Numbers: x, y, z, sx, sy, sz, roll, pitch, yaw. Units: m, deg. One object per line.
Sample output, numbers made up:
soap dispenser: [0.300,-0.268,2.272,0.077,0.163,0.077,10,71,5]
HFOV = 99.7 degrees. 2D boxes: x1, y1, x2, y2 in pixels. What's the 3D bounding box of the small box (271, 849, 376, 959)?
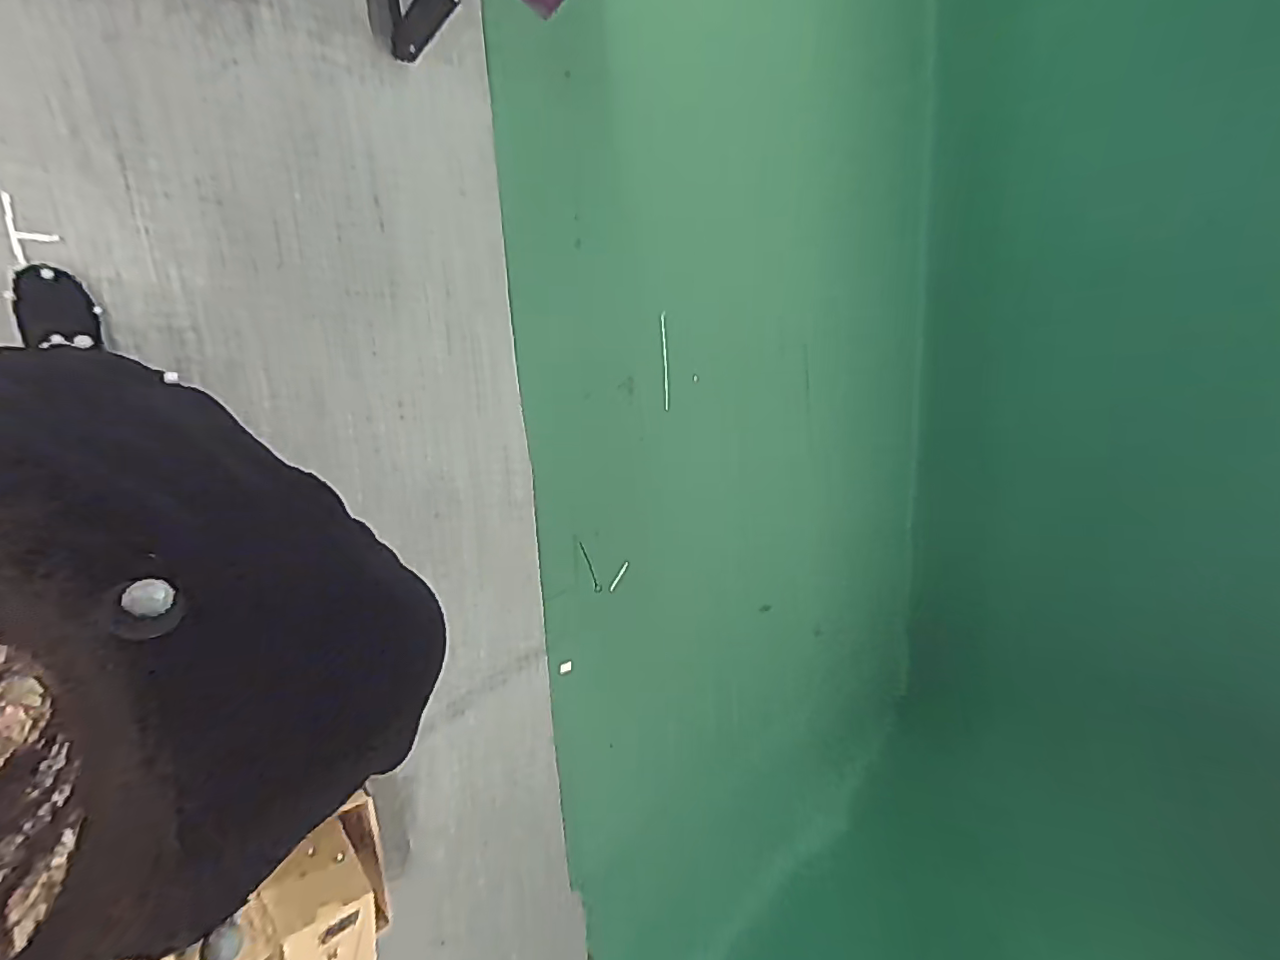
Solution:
small box: [-0.688,0.950,1.175,0.168,0.176,0.179,-5,101,-42]
